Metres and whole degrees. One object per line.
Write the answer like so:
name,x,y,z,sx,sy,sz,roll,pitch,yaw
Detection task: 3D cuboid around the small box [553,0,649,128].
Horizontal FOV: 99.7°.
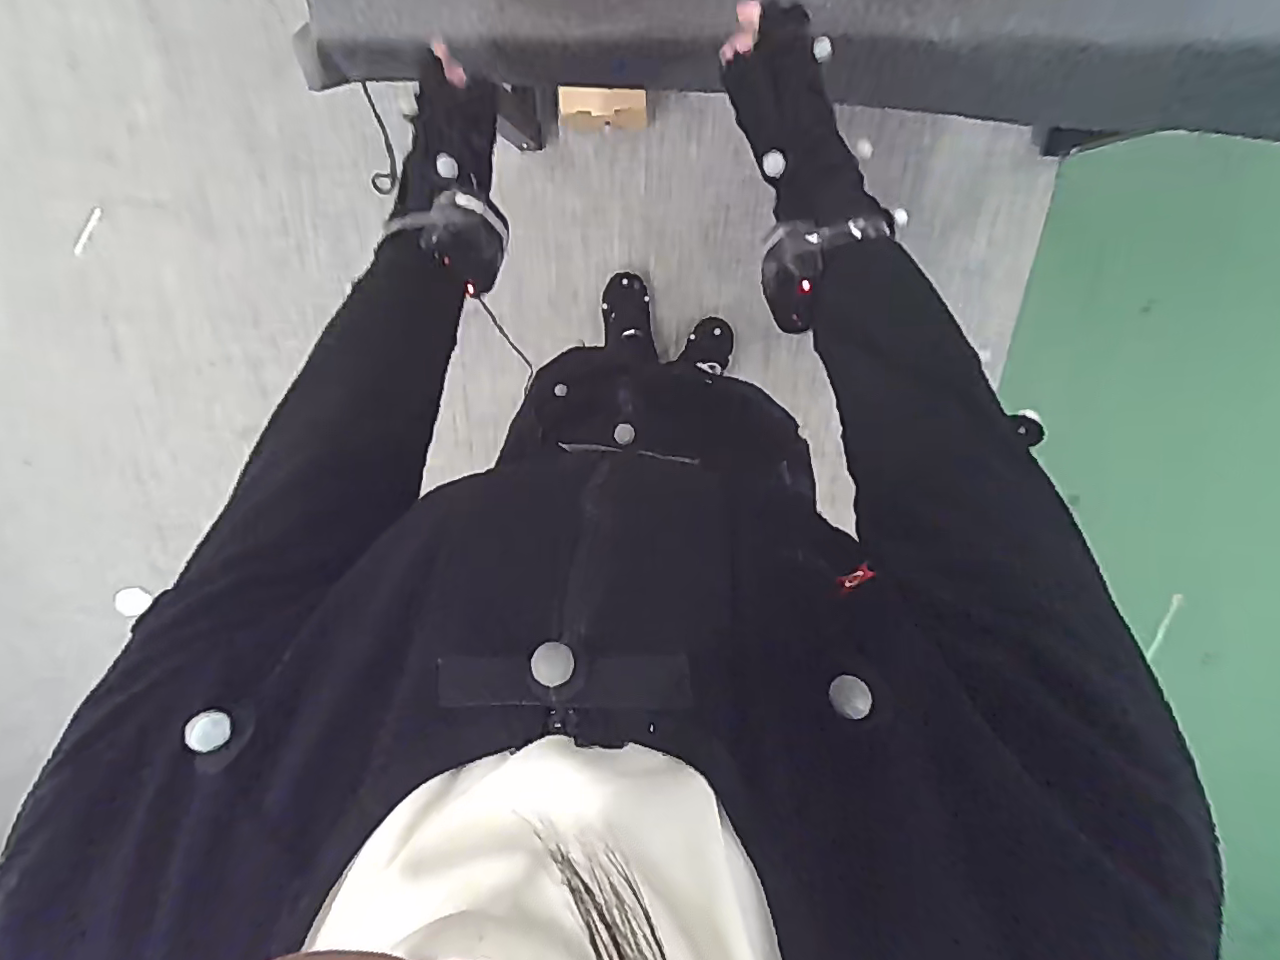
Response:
small box,-0.068,-0.809,1.064,0.168,0.176,0.179,-1,113,3
